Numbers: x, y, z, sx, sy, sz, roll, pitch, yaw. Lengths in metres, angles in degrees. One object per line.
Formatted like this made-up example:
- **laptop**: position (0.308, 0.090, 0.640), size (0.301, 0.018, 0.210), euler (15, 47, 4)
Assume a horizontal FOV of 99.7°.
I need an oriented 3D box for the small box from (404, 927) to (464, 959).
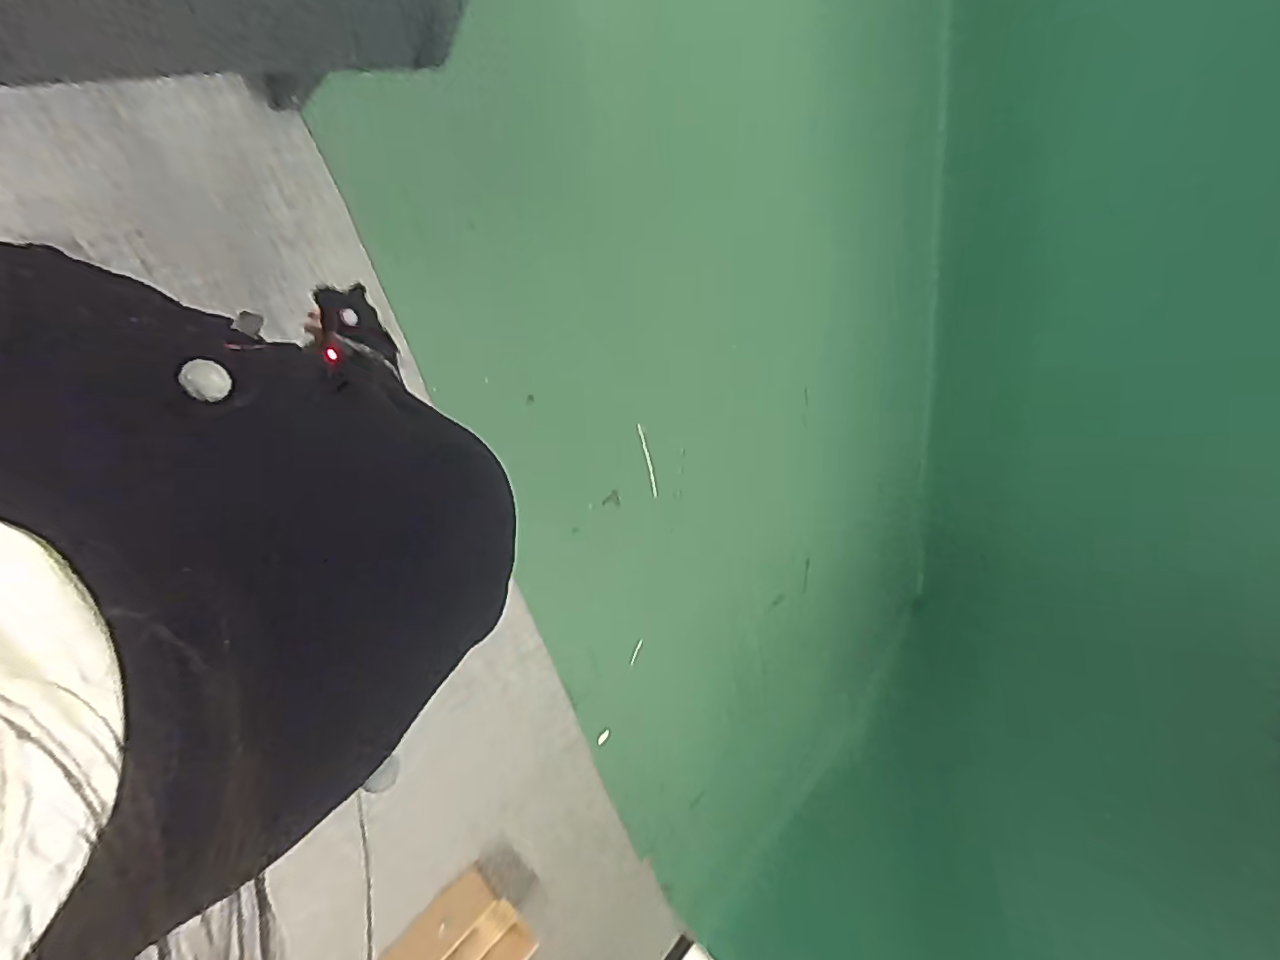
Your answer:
- **small box**: position (-0.683, 1.655, 1.793), size (0.179, 0.176, 0.168), euler (-37, 127, -28)
